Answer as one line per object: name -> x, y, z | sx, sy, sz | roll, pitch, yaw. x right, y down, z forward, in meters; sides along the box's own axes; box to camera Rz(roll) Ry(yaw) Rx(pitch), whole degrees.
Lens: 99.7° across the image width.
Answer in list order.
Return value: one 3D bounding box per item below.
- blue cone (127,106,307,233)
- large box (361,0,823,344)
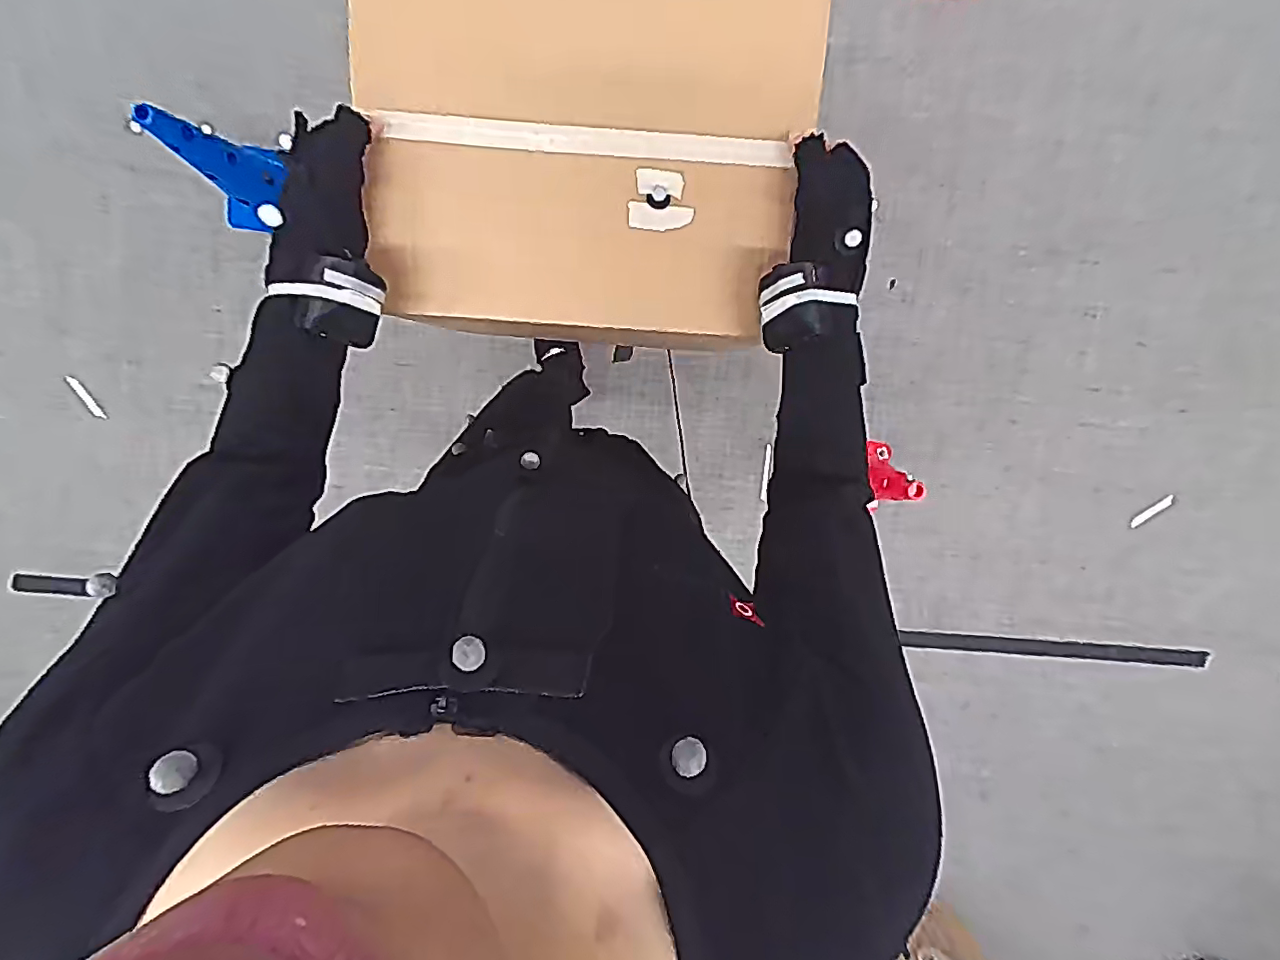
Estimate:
blue cone -> -0.940, -0.709, 1.204 | 0.192, 0.380, 0.193 | 8, 97, -1
large box -> -0.051, -0.334, 0.629 | 0.408, 0.320, 0.320 | 3, 101, -3
